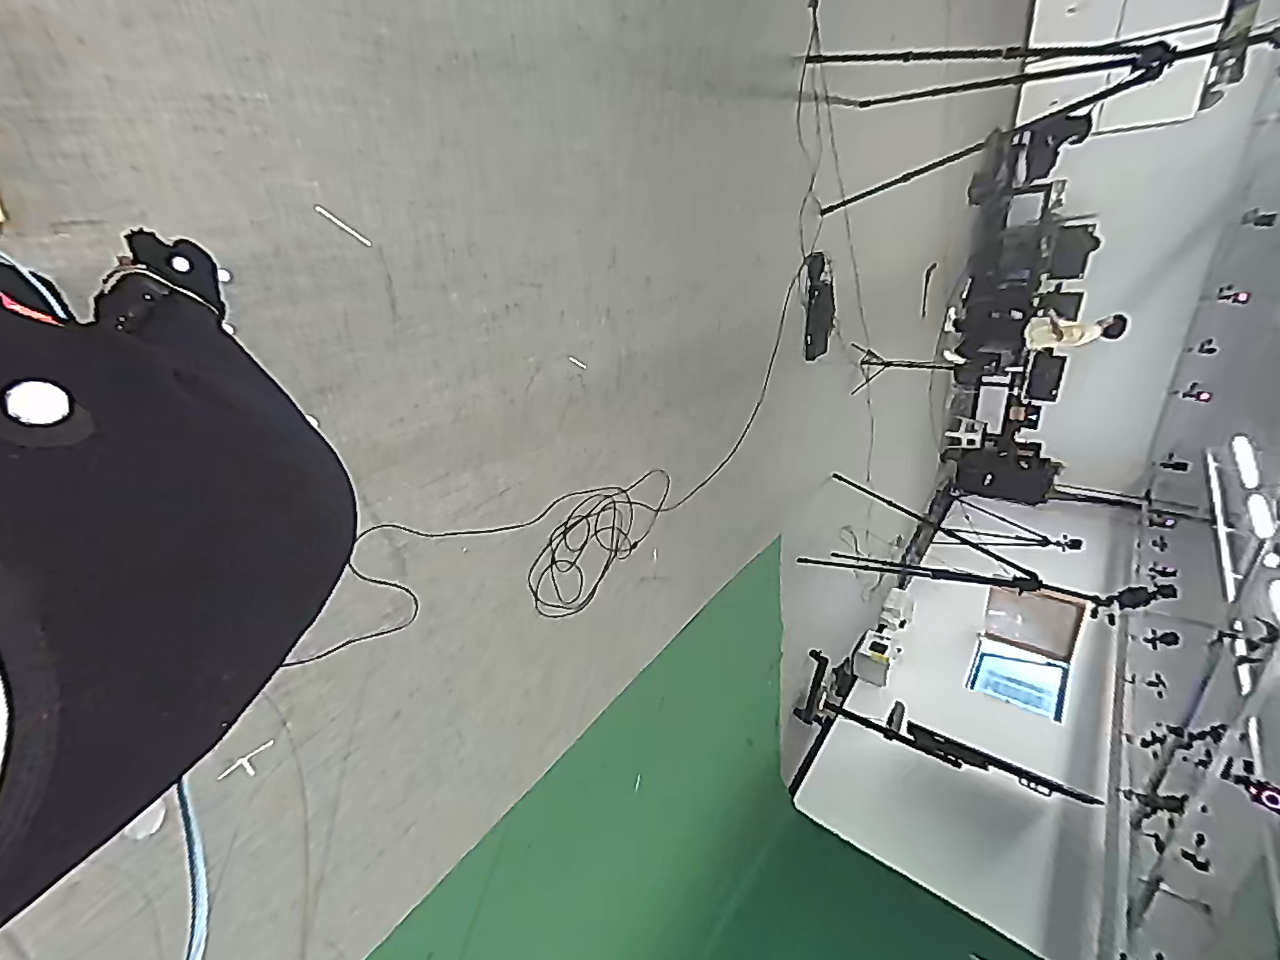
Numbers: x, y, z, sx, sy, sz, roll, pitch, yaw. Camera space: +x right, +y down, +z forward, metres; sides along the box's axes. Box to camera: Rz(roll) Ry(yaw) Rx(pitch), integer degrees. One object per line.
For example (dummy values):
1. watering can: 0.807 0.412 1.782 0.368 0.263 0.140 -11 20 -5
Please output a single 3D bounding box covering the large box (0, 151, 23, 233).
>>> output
1. large box: -1.137 -0.501 0.690 0.408 0.320 0.320 -19 116 -45
